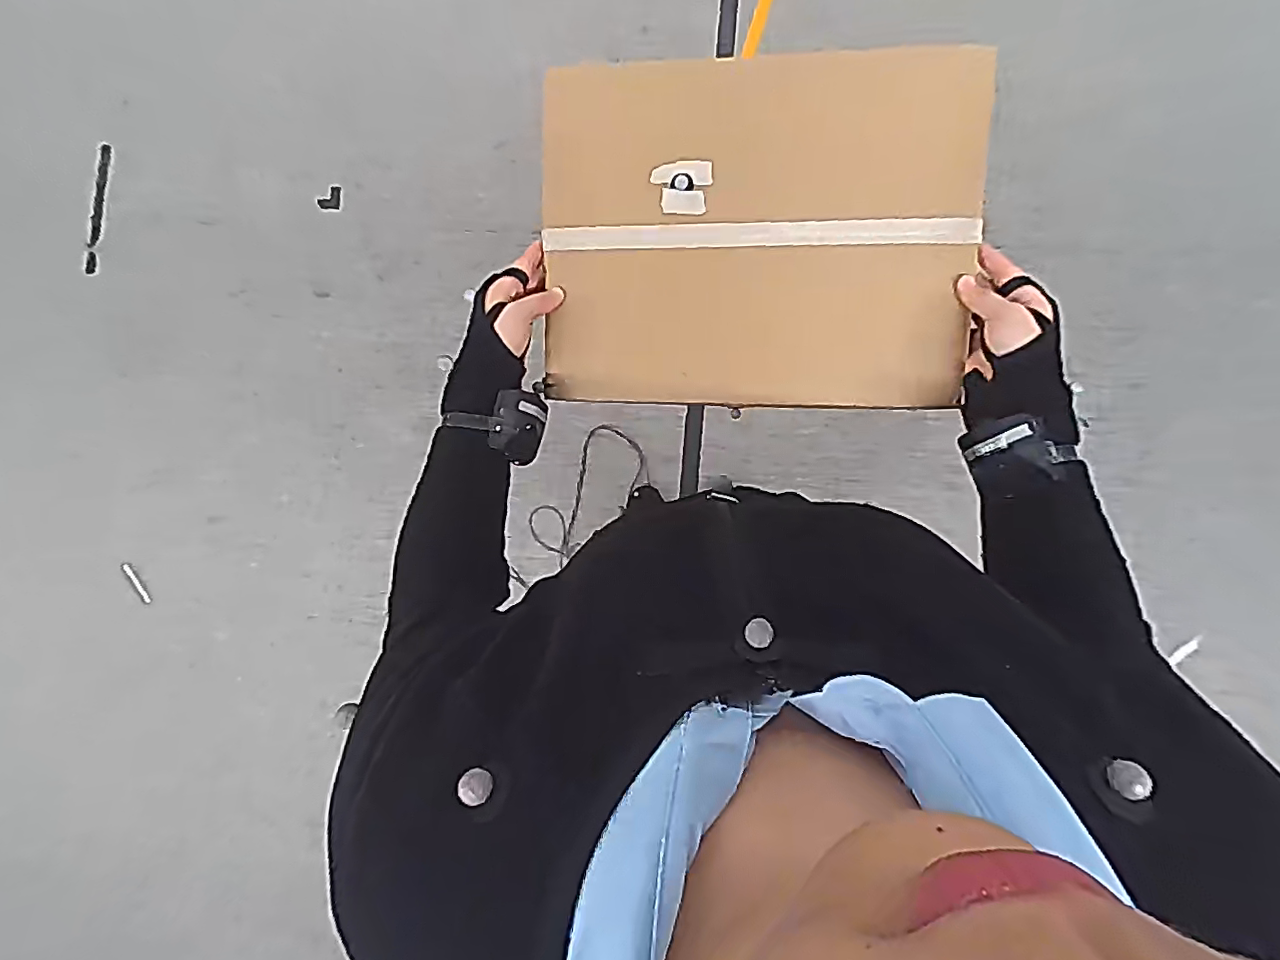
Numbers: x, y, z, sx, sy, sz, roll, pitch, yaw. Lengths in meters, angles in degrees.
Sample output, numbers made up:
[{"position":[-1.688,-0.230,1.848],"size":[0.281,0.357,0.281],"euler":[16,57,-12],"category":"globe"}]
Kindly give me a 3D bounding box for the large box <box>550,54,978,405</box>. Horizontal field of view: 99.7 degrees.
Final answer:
[{"position":[0.128,-0.252,0.673],"size":[0.408,0.320,0.320],"euler":[2,97,7],"category":"large box"}]
